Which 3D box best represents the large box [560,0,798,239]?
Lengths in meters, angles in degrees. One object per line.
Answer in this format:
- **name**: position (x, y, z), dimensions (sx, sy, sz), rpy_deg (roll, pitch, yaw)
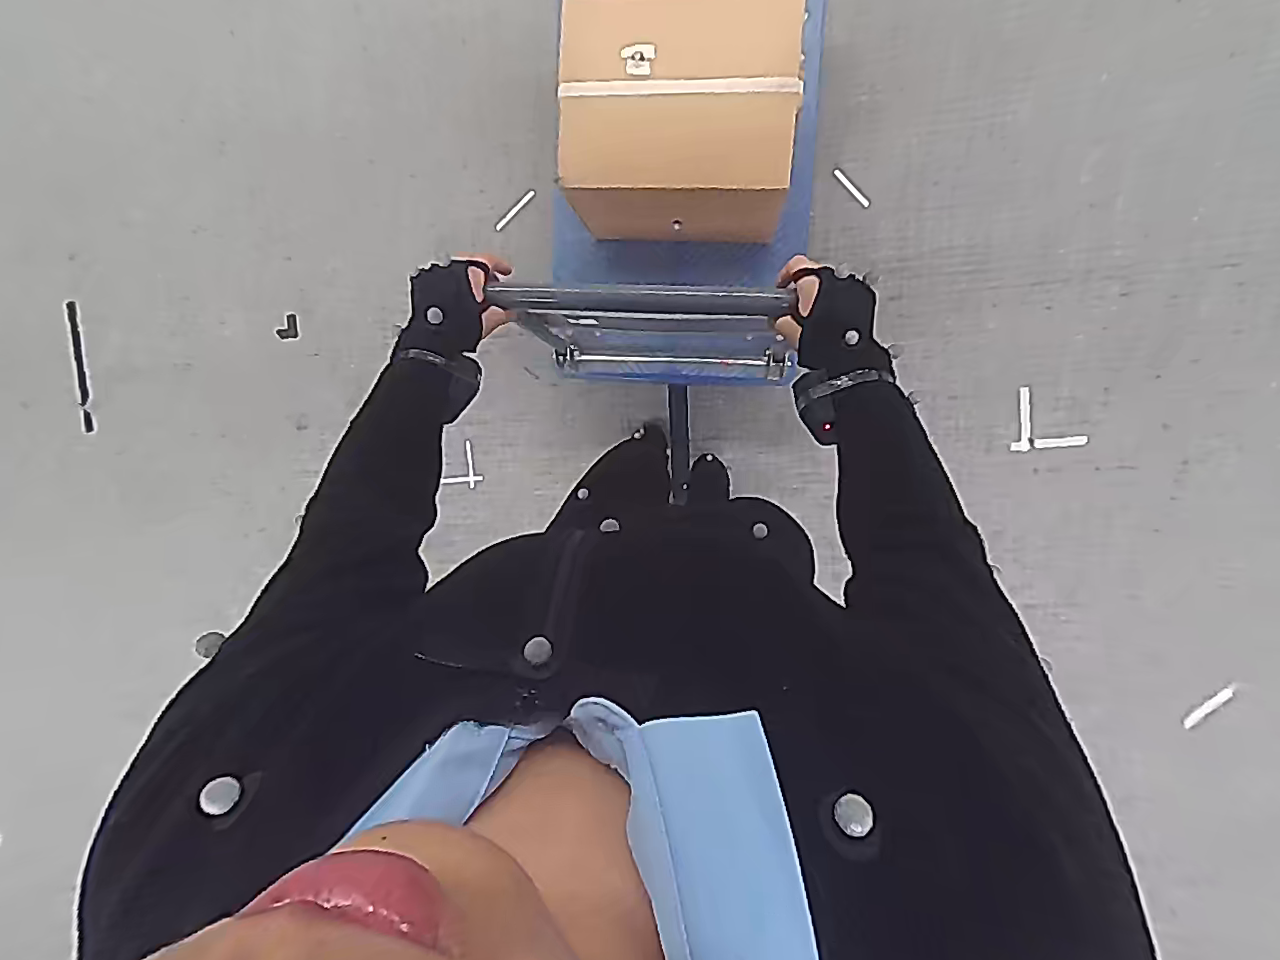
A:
- **large box**: position (0.081, -0.682, 1.074), dimensions (0.408, 0.320, 0.320), rpy_deg (4, 97, 8)
